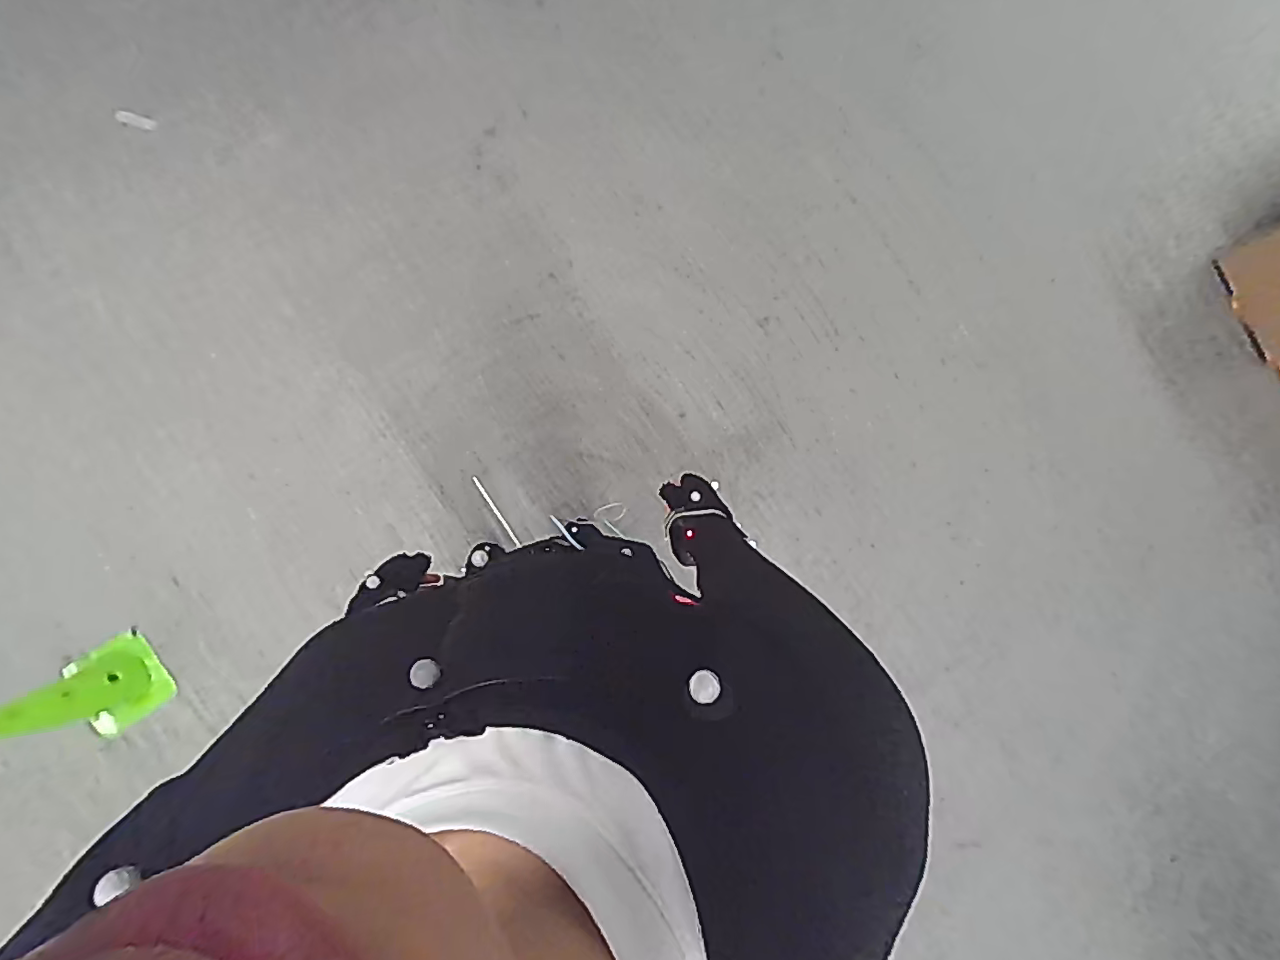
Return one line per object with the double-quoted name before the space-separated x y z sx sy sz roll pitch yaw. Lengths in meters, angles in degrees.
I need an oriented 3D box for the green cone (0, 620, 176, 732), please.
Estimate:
"green cone" -1.273 0.467 1.172 0.200 0.368 0.202 -35 92 -7
